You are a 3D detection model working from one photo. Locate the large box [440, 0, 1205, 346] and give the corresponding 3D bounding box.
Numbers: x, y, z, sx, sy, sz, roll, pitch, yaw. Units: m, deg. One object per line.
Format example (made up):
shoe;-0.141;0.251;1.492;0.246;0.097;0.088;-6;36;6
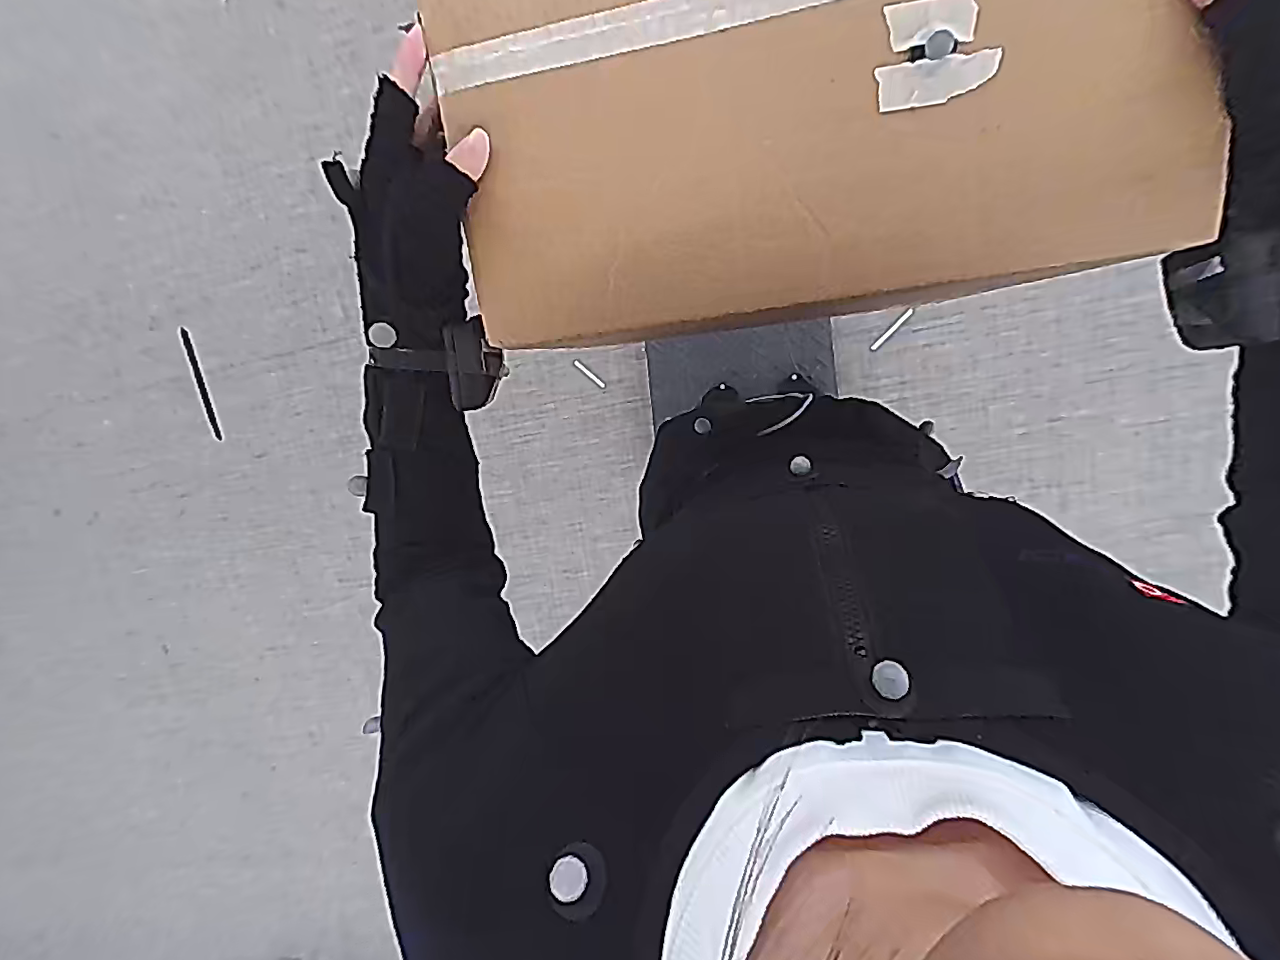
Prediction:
large box;0.100;-0.296;0.438;0.408;0.320;0.320;-6;103;9
